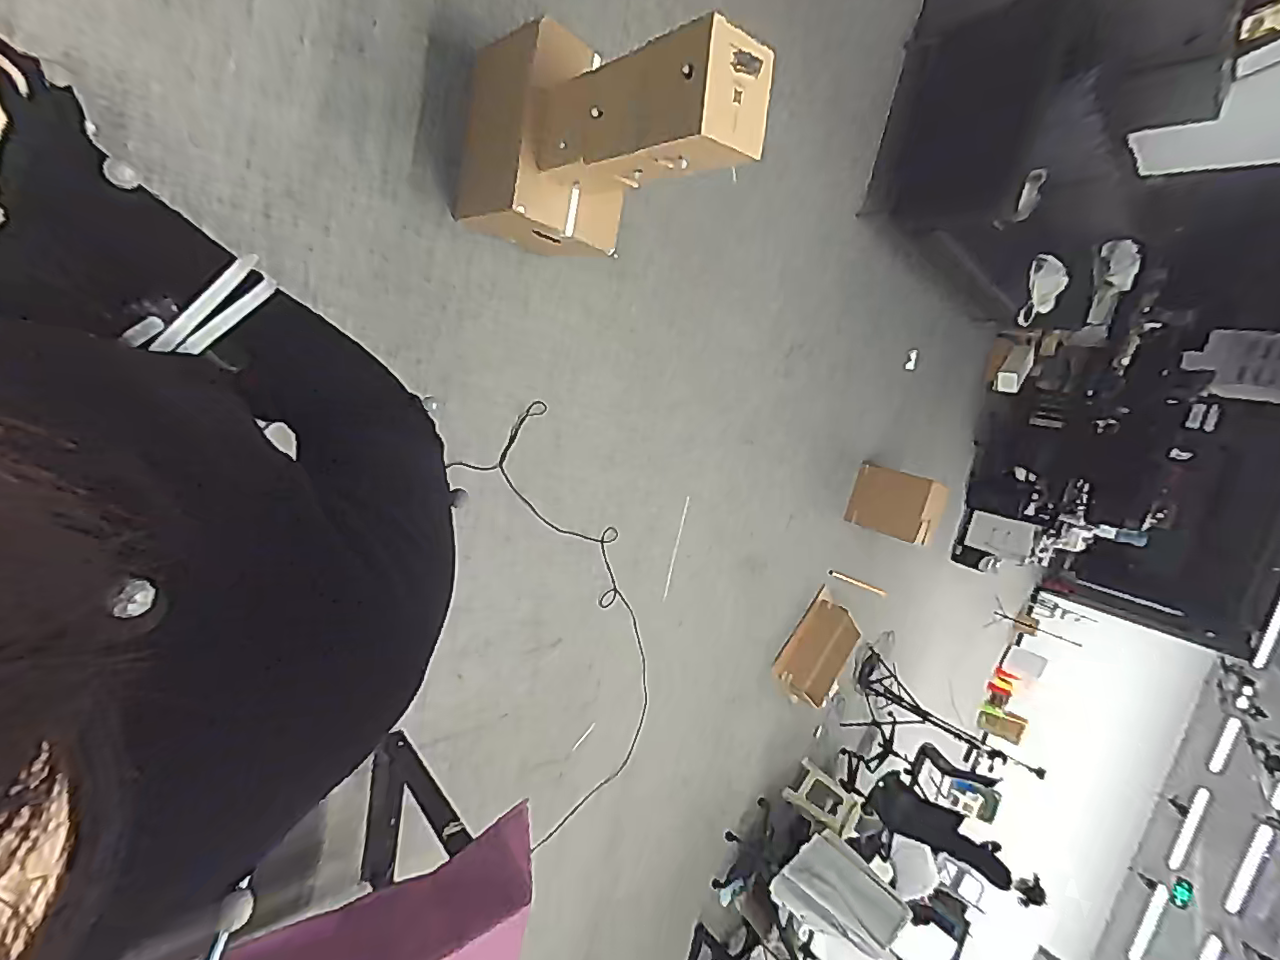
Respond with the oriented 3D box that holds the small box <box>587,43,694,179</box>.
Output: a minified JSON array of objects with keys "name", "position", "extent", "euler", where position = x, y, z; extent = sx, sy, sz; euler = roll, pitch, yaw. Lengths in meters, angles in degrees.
[{"name":"small box","position":[0.008,-0.732,1.101],"extent":[0.168,0.176,0.179],"euler":[-8,111,-41]}]

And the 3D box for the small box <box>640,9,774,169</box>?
[{"name":"small box","position":[0.116,-0.691,0.983],"extent":[0.168,0.176,0.179],"euler":[-8,111,-40]}]
